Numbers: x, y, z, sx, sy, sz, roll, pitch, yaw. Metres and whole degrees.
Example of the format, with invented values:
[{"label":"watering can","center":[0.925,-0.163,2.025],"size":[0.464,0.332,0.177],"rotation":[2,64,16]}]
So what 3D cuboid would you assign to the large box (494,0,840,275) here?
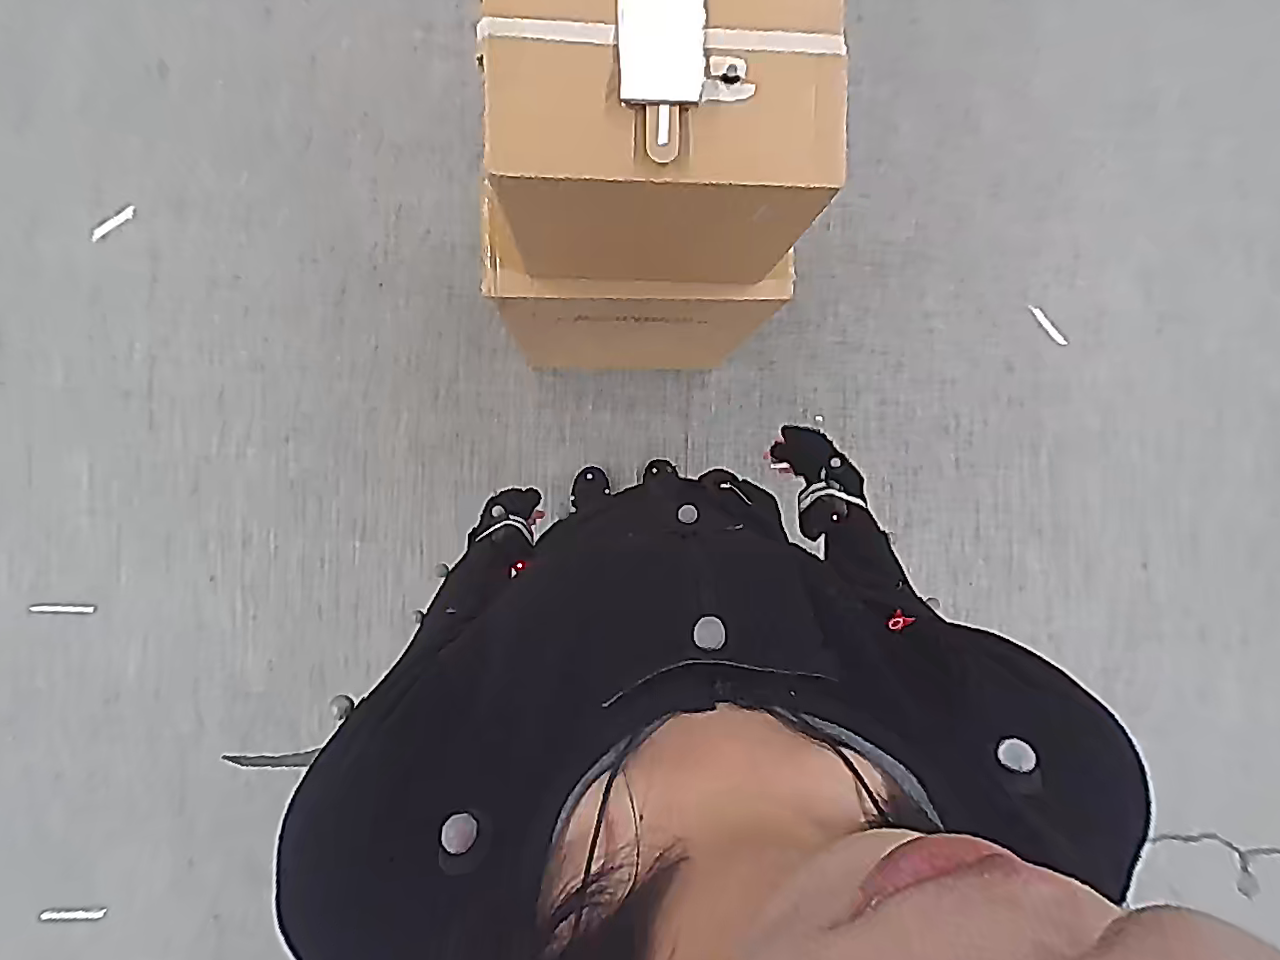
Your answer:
[{"label":"large box","center":[0.021,-0.498,0.766],"size":[0.408,0.320,0.320],"rotation":[-1,91,-5]}]
